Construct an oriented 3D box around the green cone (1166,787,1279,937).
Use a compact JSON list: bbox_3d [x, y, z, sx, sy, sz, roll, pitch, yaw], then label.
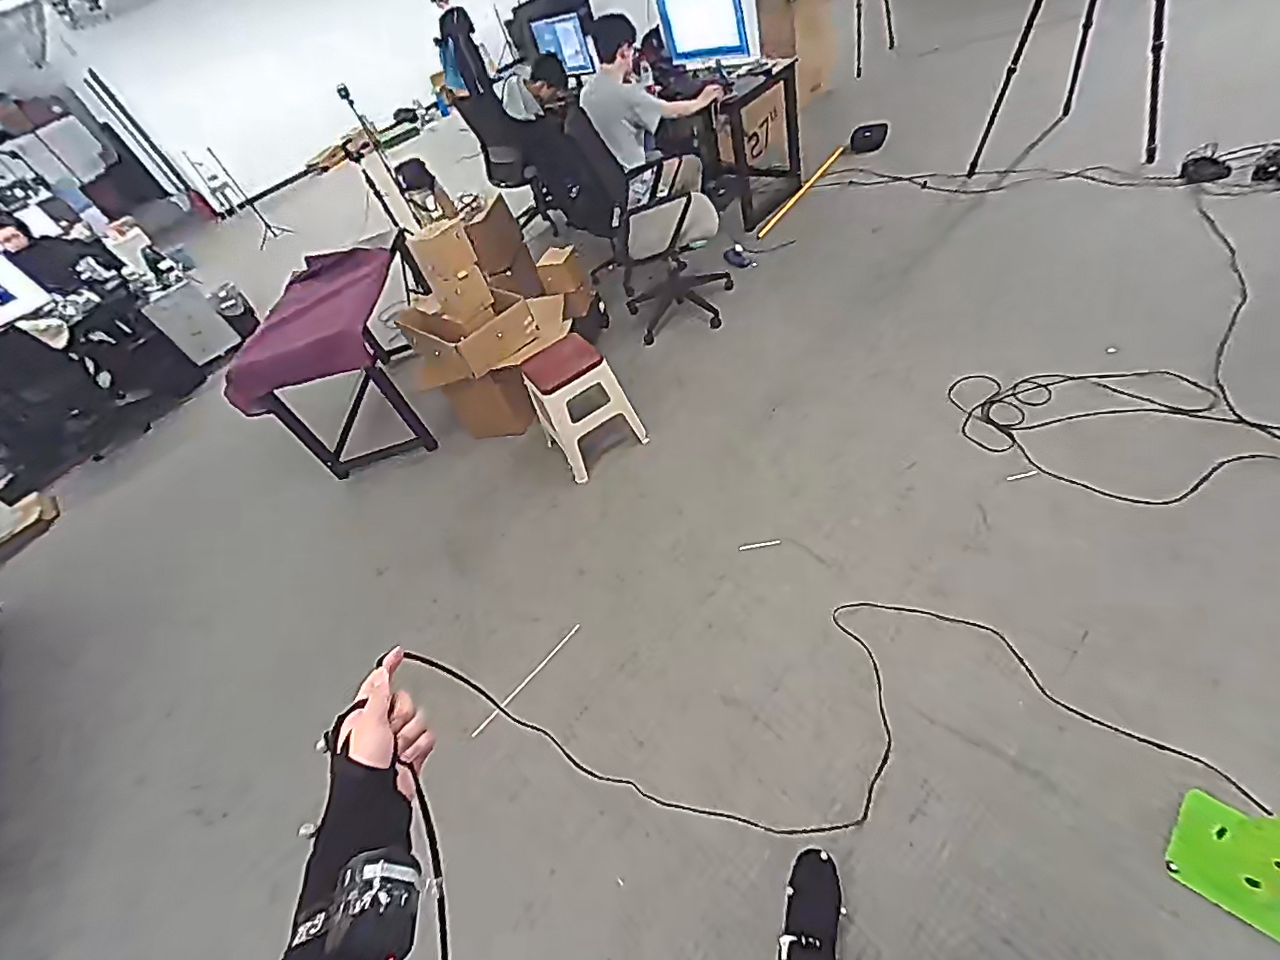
[{"bbox_3d":[1.151,0.643,0.955,0.200,0.368,0.202,26,62,37],"label":"green cone"}]
